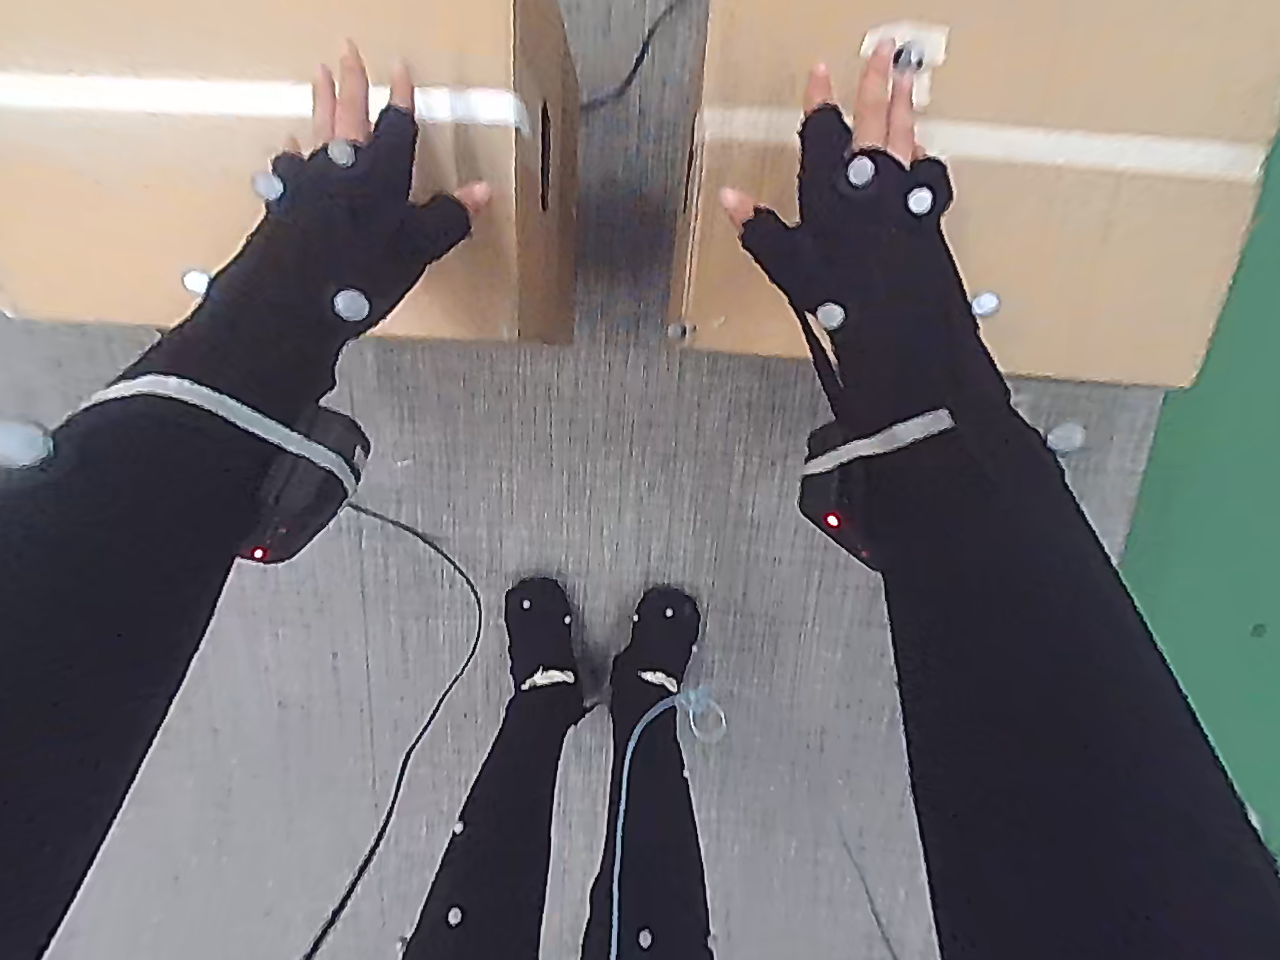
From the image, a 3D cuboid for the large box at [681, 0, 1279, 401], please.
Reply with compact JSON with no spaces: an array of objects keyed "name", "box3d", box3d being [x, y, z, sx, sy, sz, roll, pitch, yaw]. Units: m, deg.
[{"name":"large box","box3d":[0.262,-0.265,0.560,0.408,0.320,0.320,6,103,0]}]
